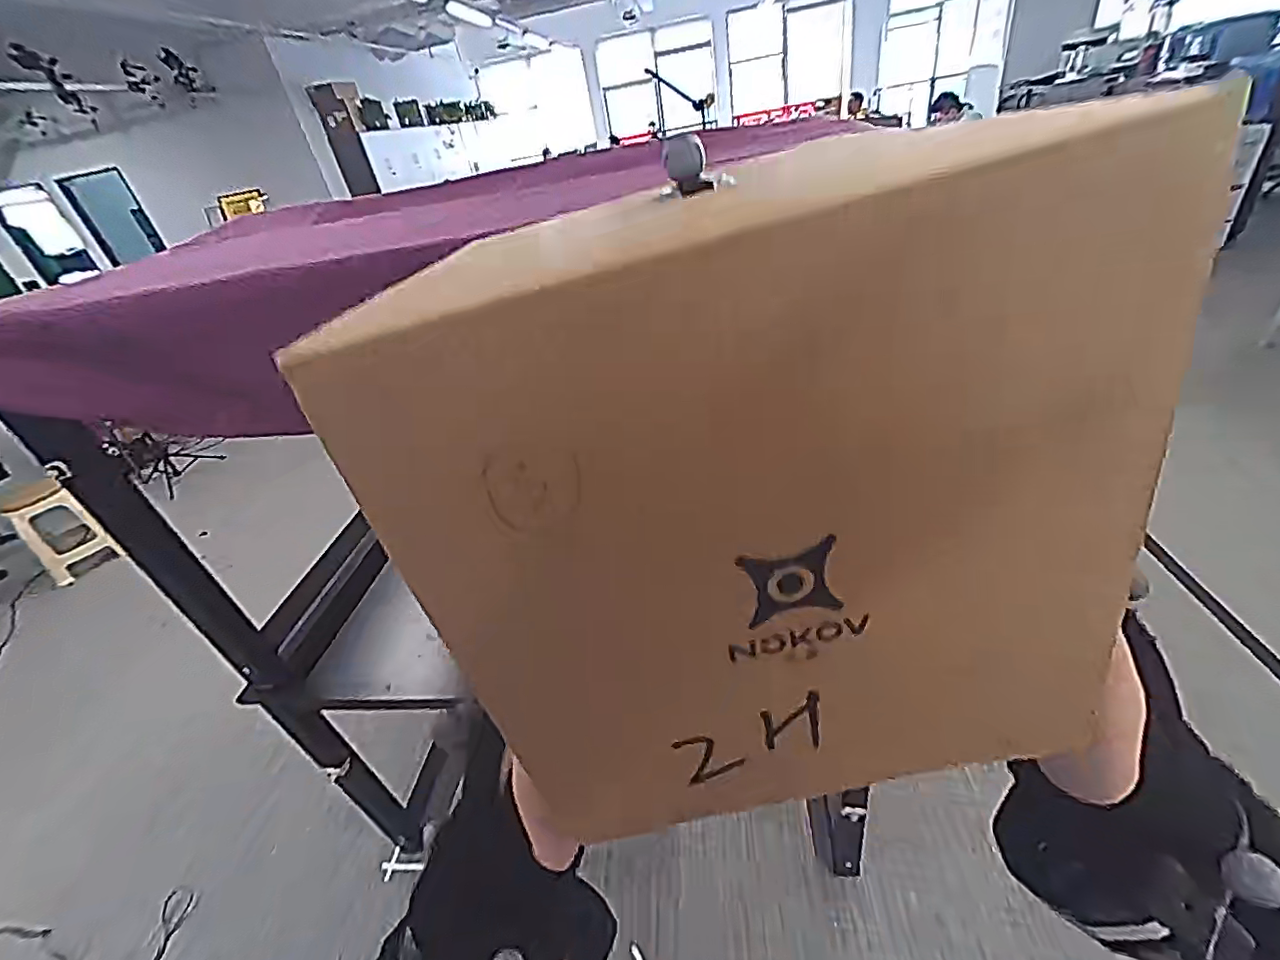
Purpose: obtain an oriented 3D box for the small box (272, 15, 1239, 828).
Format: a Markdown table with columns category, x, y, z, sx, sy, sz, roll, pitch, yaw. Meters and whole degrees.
| category | x | y | z | sx | sy | sz | roll | pitch | yaw |
| --- | --- | --- | --- | --- | --- | --- | --- | --- | --- |
| small box | 0.028 | -0.019 | 0.197 | 0.168 | 0.179 | 0.176 | -14 | 30 | 4 |
